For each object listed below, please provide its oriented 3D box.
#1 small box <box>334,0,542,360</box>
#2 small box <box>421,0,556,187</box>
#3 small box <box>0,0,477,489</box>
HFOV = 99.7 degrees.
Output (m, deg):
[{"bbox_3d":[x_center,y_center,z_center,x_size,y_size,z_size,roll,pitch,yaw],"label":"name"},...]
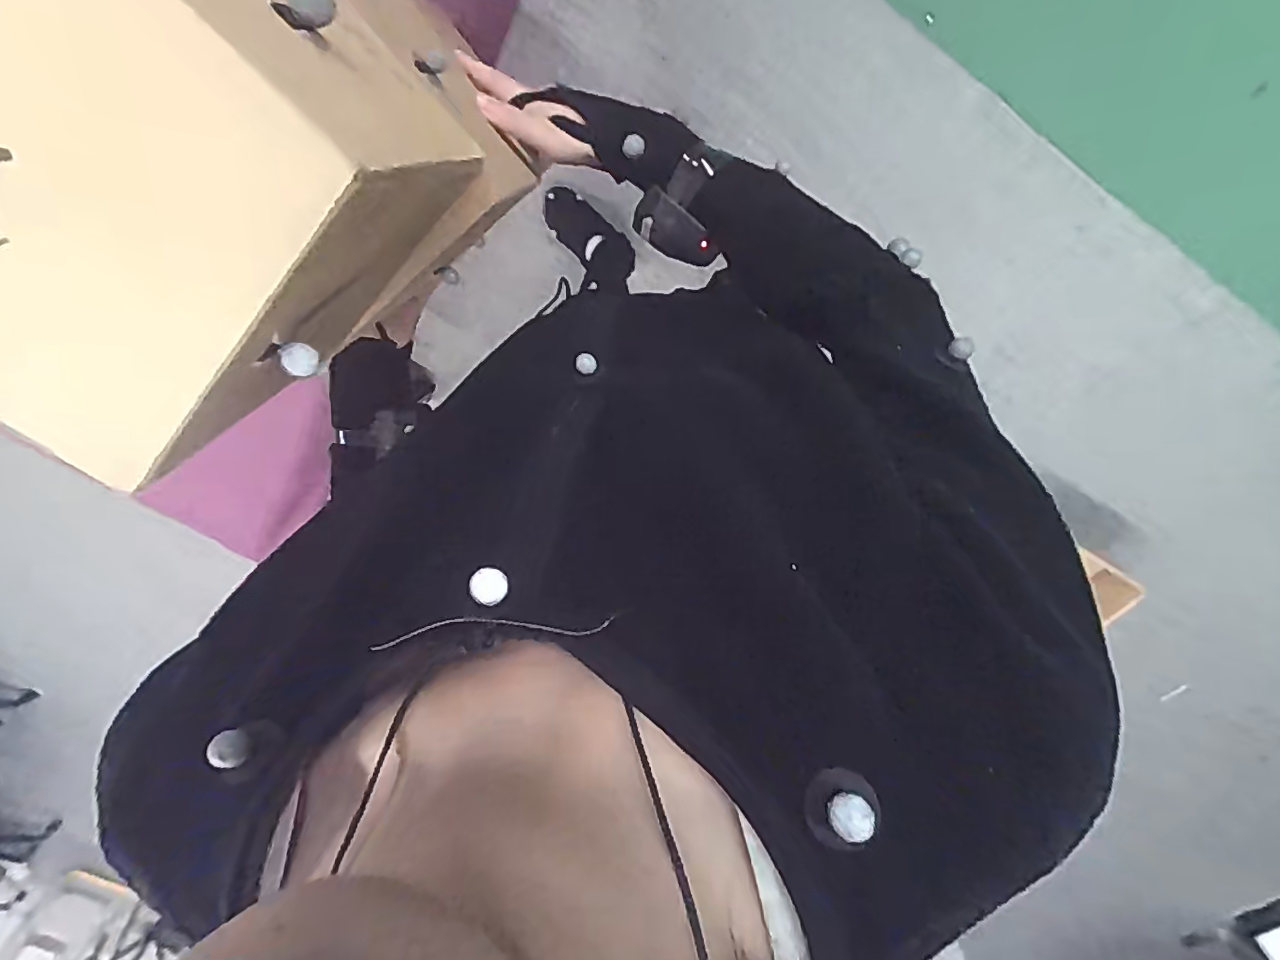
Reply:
[{"bbox_3d":[-0.187,-0.220,0.370,0.168,0.176,0.179,-31,117,17],"label":"small box"},{"bbox_3d":[-0.198,-0.307,0.509,0.179,0.176,0.168,-34,116,18],"label":"small box"},{"bbox_3d":[-0.192,-0.137,0.230,0.179,0.176,0.168,-38,116,21],"label":"small box"}]
